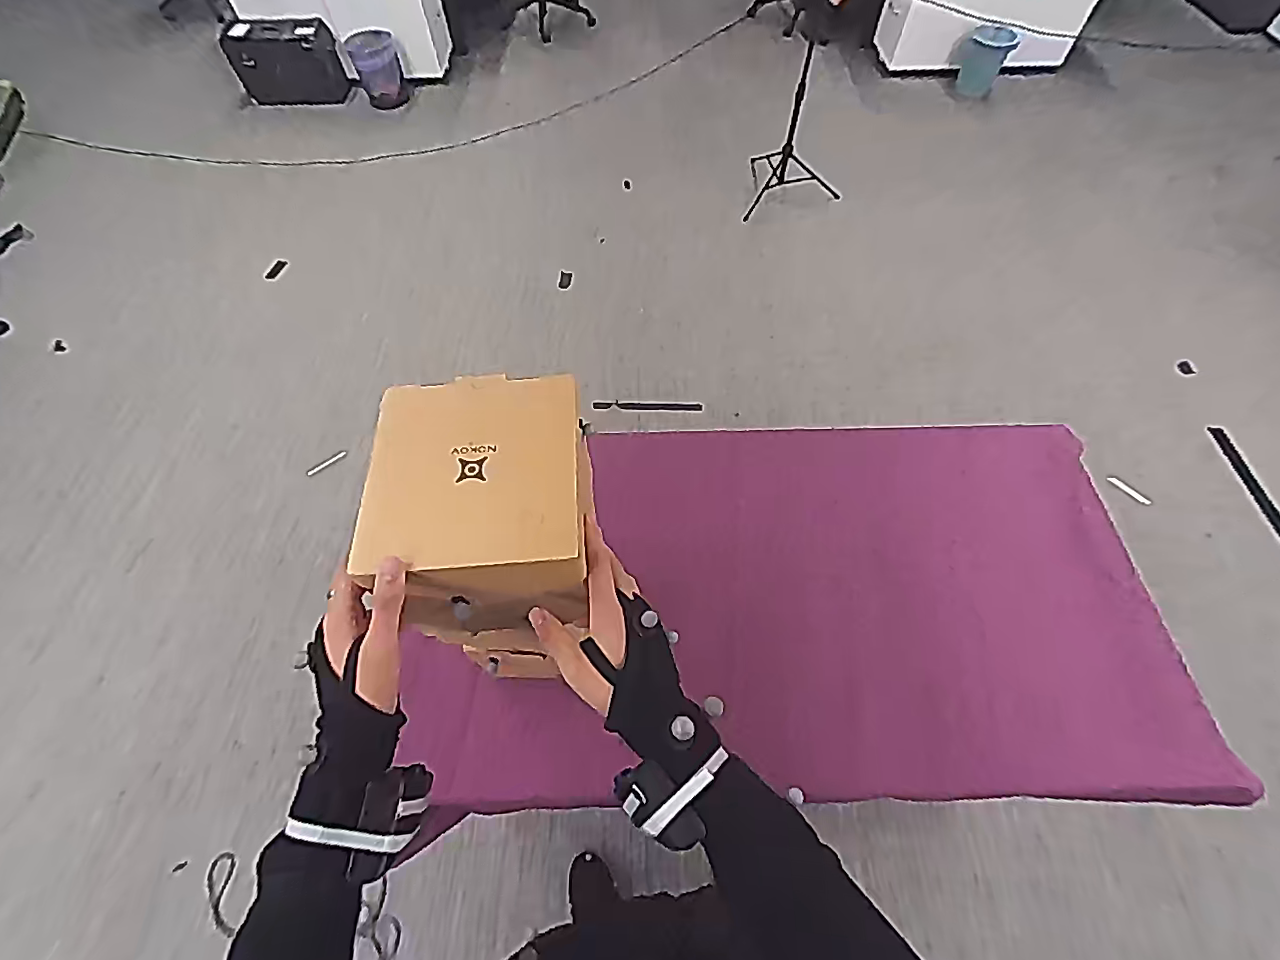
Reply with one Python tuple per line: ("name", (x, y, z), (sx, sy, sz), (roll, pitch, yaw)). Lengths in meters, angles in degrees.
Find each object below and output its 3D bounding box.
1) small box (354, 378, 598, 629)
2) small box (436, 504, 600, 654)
("small box", (-0.129, 0.031, 0.499), (0.168, 0.176, 0.179), (-4, 58, -2))
("small box", (-0.151, 0.101, 0.647), (0.179, 0.176, 0.168), (6, 60, 4))
